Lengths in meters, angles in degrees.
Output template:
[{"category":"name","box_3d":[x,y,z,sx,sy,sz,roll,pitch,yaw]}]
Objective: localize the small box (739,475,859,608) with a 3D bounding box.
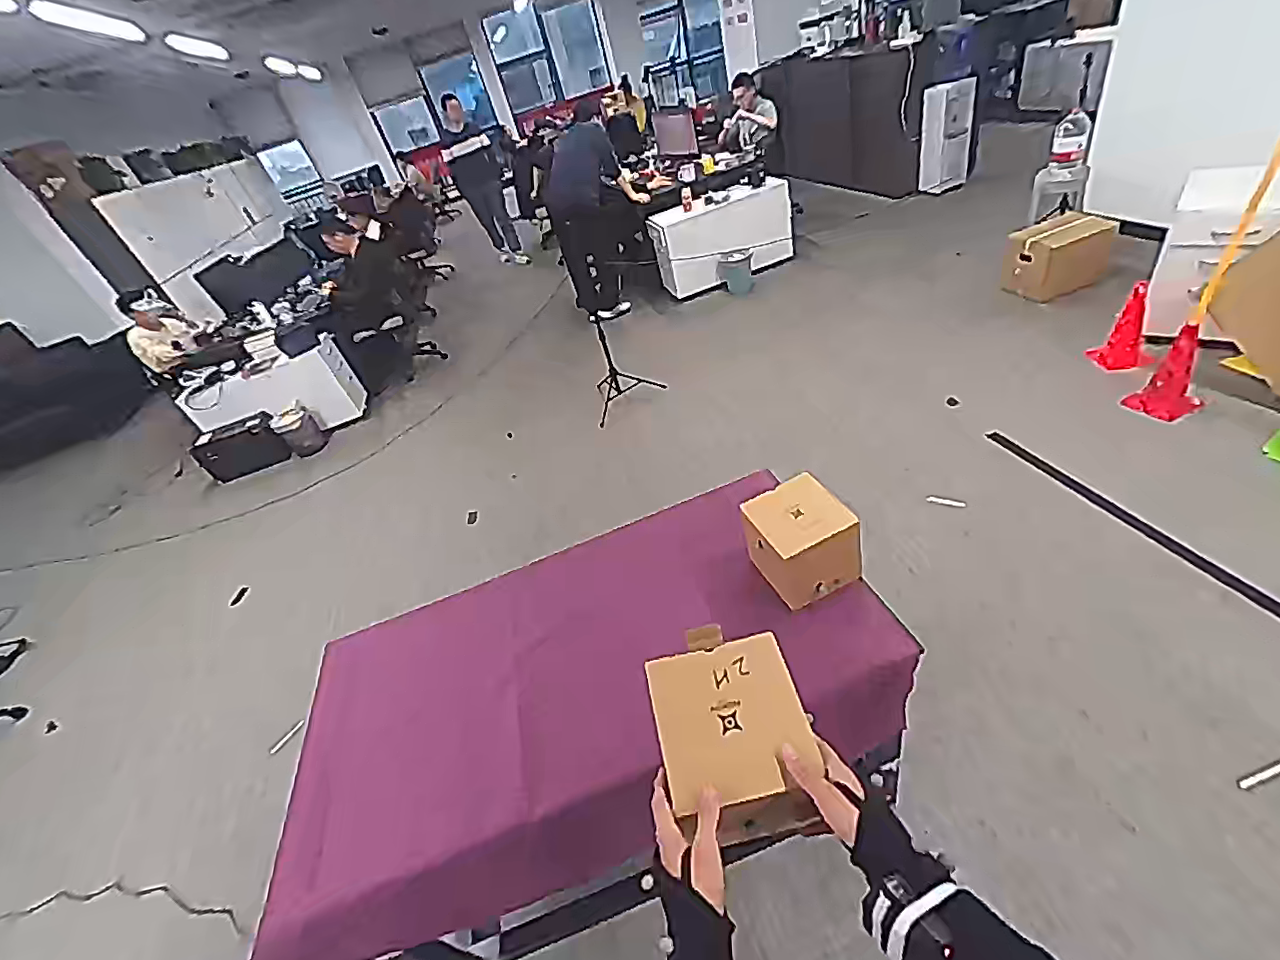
[{"category":"small box","box_3d":[0.324,0.126,1.104,0.168,0.176,0.179,-26,38,-6]}]

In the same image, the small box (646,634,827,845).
[{"category":"small box","box_3d":[0.112,0.322,0.662,0.168,0.176,0.179,-12,43,-1]}]
